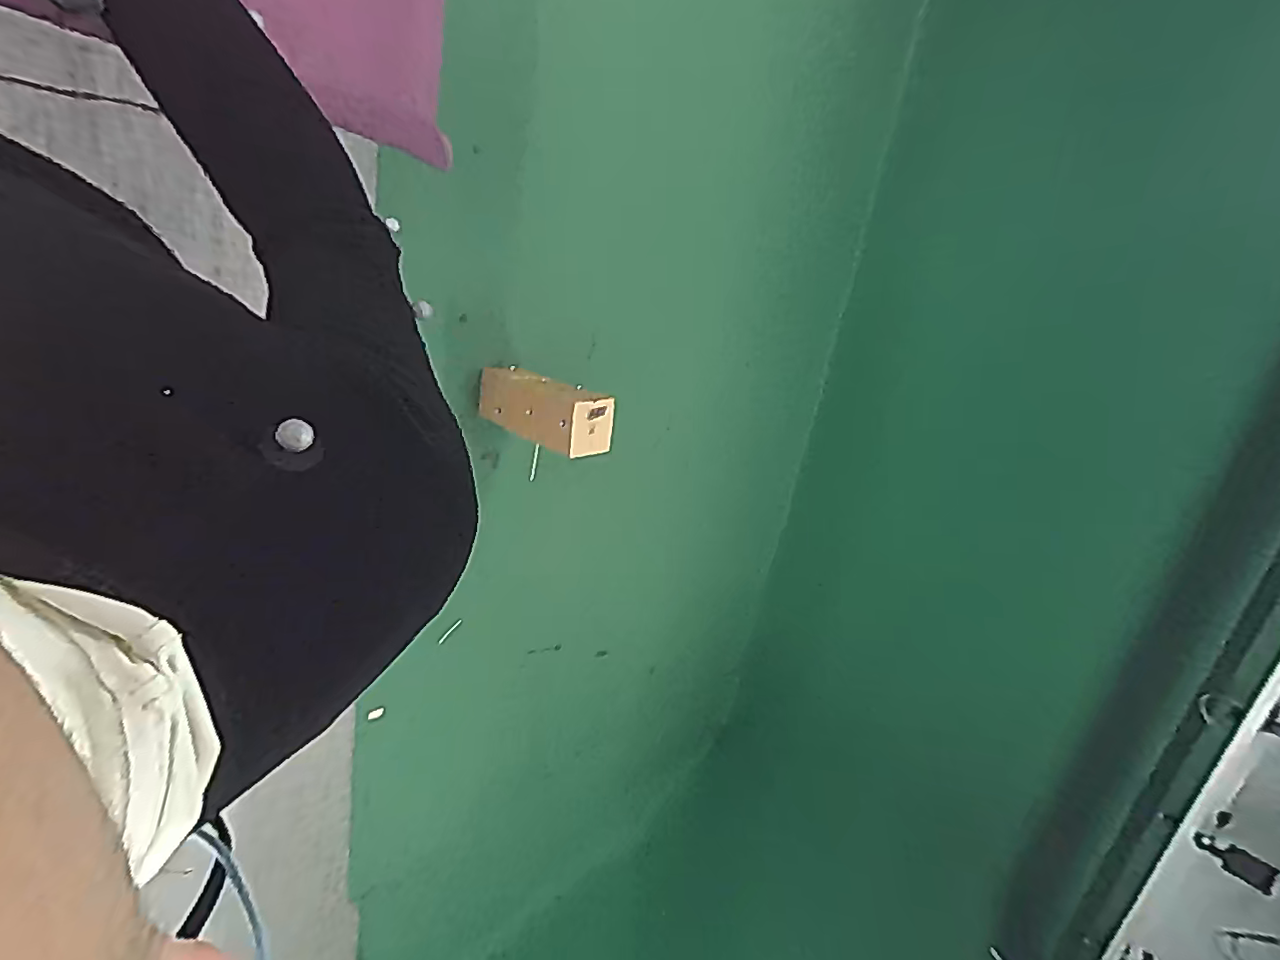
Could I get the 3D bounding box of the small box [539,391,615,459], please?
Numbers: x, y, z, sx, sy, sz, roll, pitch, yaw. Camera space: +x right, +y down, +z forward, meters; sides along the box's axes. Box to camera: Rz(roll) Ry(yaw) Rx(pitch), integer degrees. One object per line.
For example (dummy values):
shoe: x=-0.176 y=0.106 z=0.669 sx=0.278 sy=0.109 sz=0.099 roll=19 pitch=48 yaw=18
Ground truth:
small box: x=-0.200 y=-0.180 z=1.694 sx=0.168 sy=0.176 sz=0.179 roll=-13 pitch=118 yaw=-45

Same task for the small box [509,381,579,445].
small box: x=-0.321 y=-0.228 z=1.796 sx=0.168 sy=0.176 sz=0.179 roll=-11 pitch=115 yaw=-46

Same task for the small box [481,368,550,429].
small box: x=-0.439 y=-0.285 z=1.892 sx=0.168 sy=0.176 sz=0.179 roll=-8 pitch=114 yaw=-48
